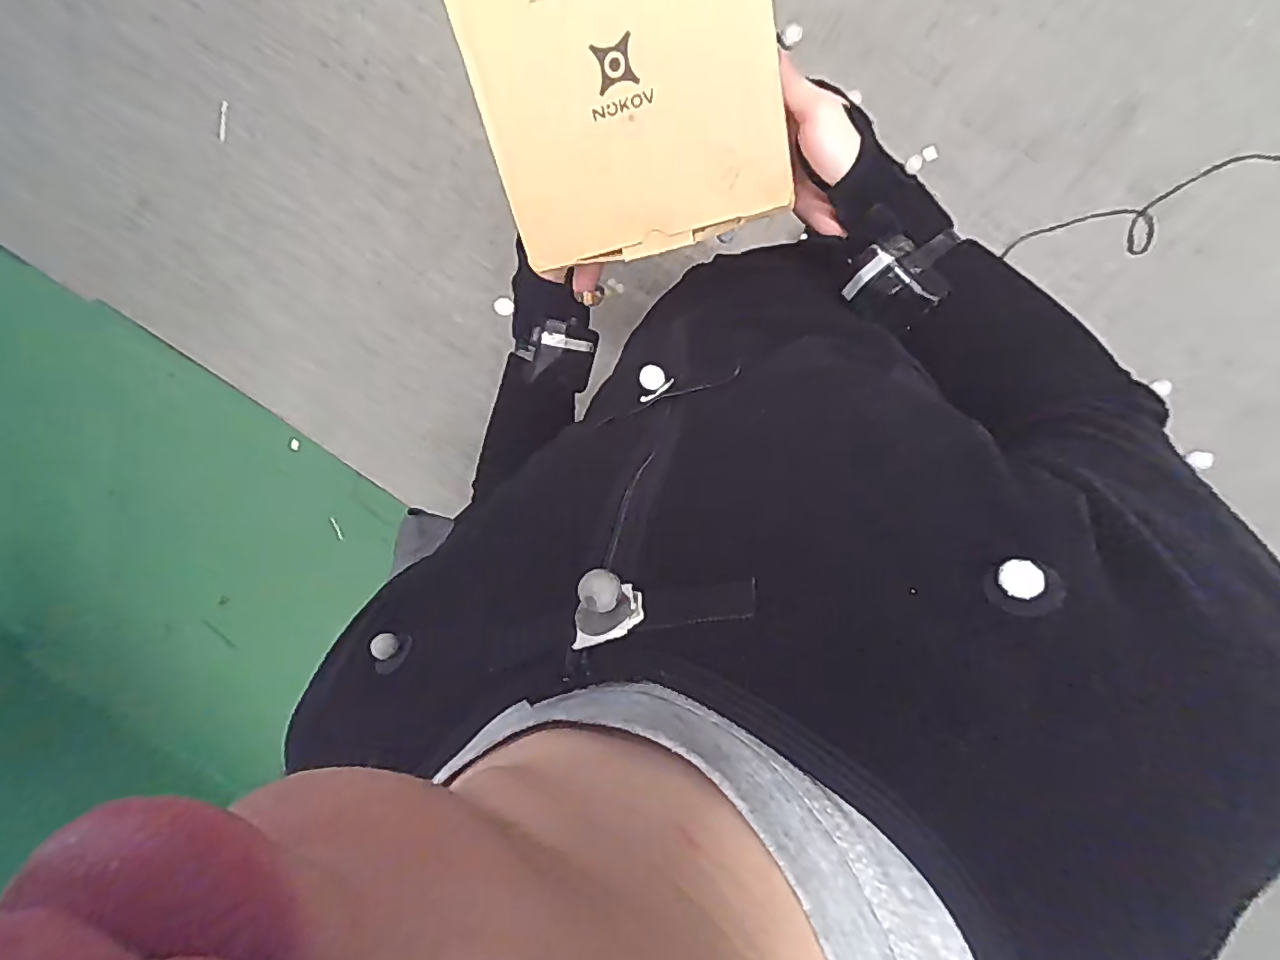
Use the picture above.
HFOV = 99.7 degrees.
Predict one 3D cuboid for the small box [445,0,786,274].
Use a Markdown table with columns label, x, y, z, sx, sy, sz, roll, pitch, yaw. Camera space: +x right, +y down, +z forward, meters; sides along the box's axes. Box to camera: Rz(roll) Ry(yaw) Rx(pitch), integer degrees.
| label | x | y | z | sx | sy | sz | roll | pitch | yaw |
| --- | --- | --- | --- | --- | --- | --- | --- | --- | --- |
| small box | 0.003 | -0.256 | 0.357 | 0.168 | 0.176 | 0.179 | -8 | 116 | 17 |
